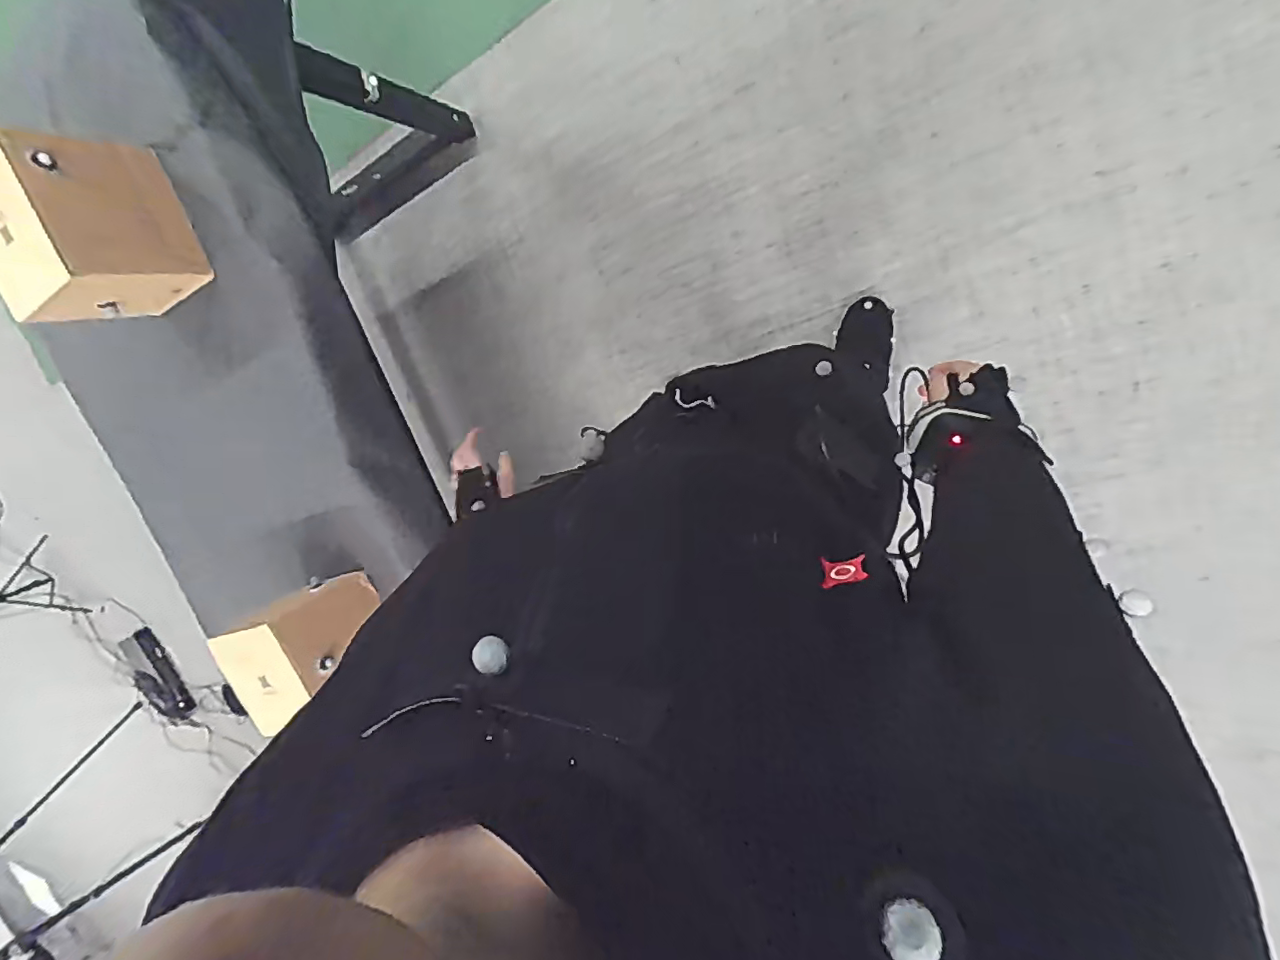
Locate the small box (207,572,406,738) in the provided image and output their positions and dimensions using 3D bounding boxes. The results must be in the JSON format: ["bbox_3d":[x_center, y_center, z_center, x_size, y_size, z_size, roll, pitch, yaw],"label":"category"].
[{"bbox_3d":[-0.506,0.269,0.843,0.168,0.176,0.179,-18,100,25],"label":"small box"}]

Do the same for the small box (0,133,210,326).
[{"bbox_3d":[-0.728,-0.321,0.717,0.168,0.176,0.179,-13,103,26],"label":"small box"}]
